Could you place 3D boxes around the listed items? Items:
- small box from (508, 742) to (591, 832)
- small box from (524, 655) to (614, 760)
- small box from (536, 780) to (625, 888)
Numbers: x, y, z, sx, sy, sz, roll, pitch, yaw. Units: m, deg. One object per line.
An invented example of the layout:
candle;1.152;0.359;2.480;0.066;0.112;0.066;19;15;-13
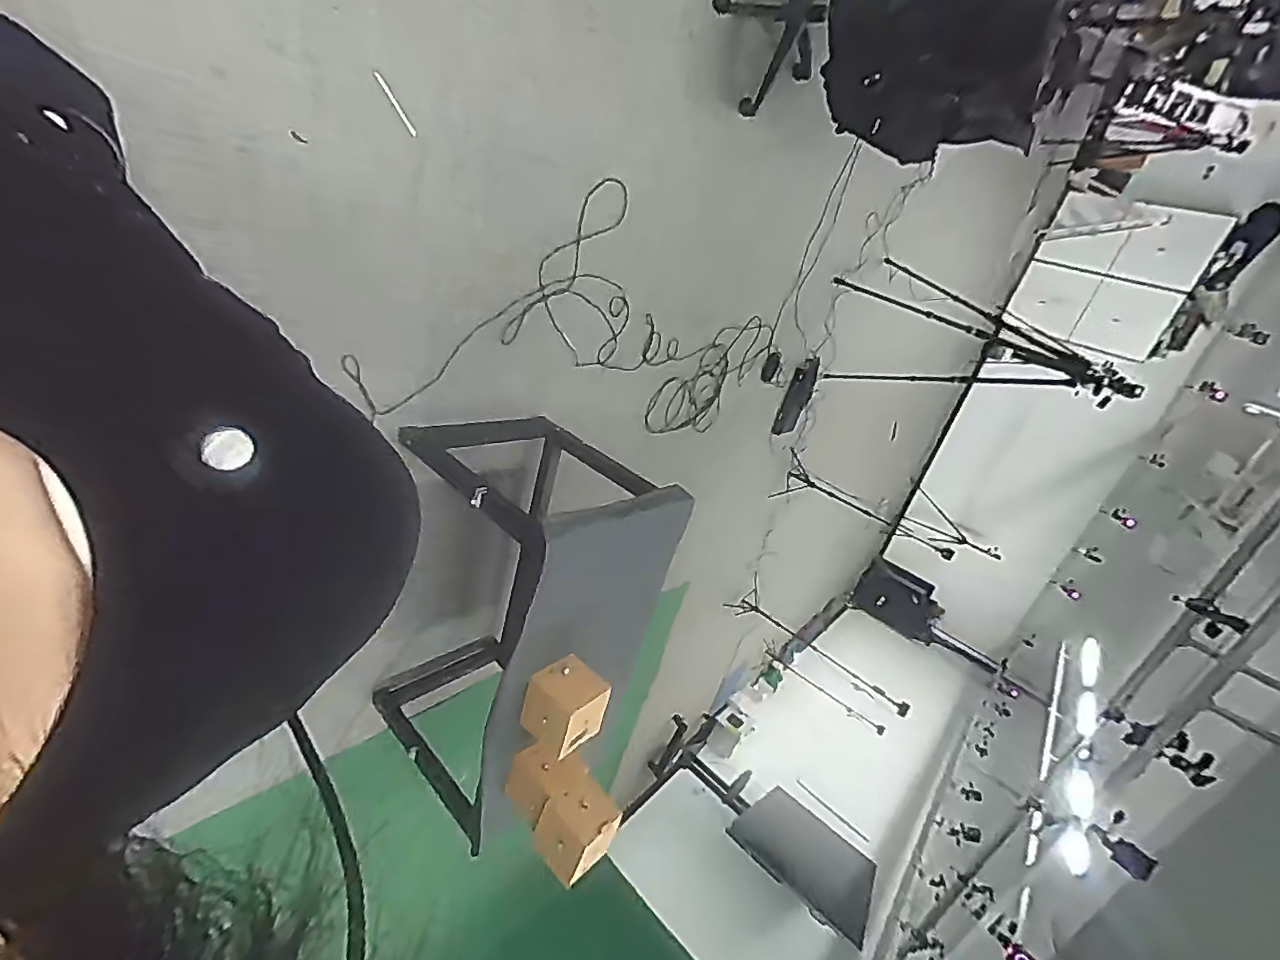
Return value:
small box;-0.283;0.929;1.667;0.168;0.176;0.179;-8;124;-51
small box;-0.204;0.632;1.520;0.168;0.176;0.179;-13;126;-51
small box;-0.177;1.014;1.573;0.168;0.176;0.179;-4;119;-53
